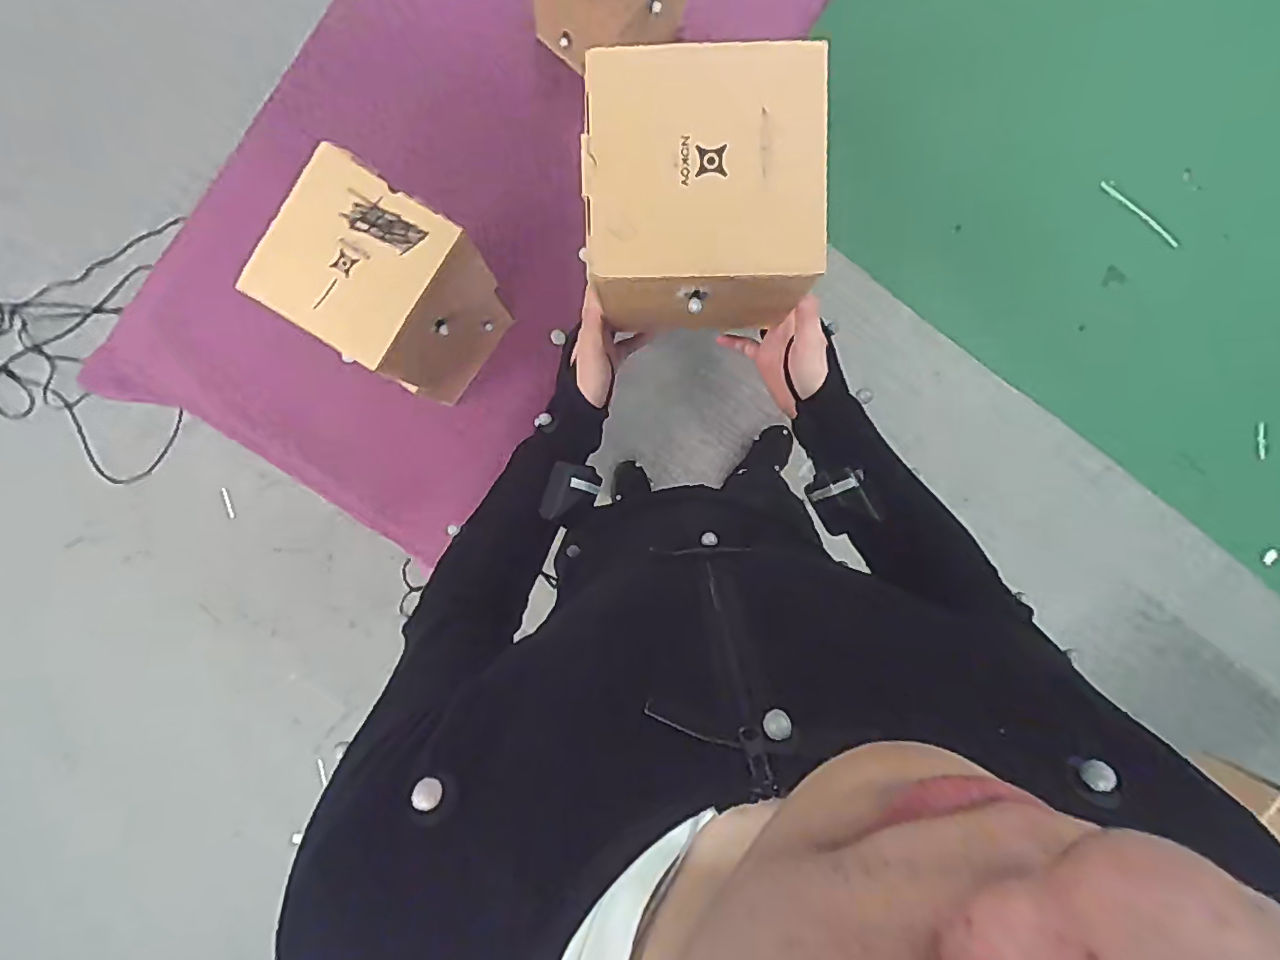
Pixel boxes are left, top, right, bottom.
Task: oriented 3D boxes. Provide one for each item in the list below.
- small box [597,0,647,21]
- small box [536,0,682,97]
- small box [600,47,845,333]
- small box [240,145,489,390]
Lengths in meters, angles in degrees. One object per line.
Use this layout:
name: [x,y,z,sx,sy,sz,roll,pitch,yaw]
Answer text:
small box: [-0.025,-0.703,0.624,0.168,0.176,0.179,39,91,-5]
small box: [-0.044,-0.718,0.787,0.168,0.176,0.179,39,91,-4]
small box: [0.061,-0.229,0.469,0.179,0.176,0.168,0,92,1]
small box: [-0.294,-0.225,0.626,0.168,0.176,0.179,32,90,-4]
